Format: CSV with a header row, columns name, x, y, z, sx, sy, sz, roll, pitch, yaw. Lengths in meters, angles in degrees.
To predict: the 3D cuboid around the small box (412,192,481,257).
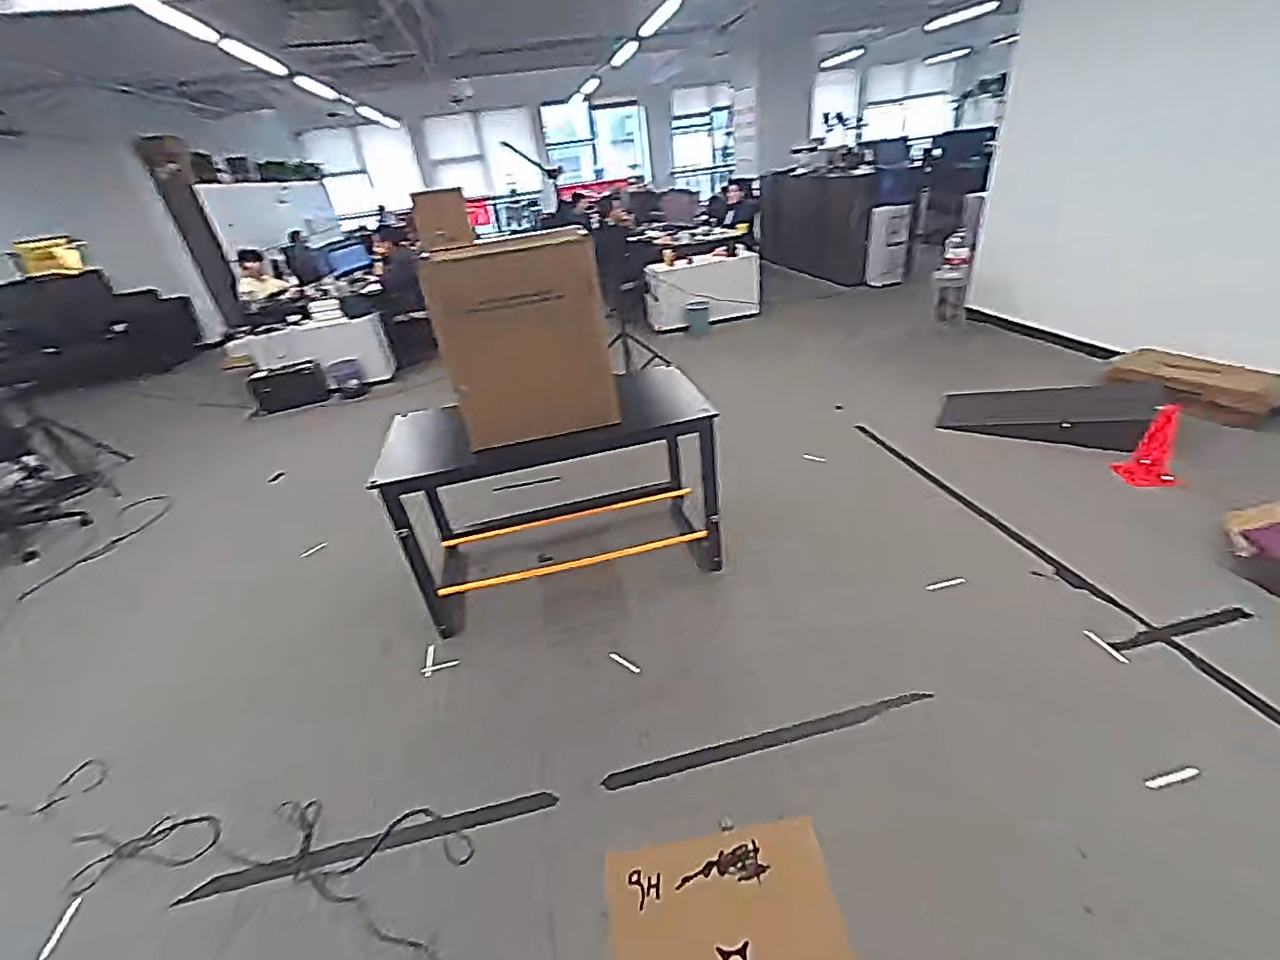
name,x,y,z,sx,sy,sz,roll,pitch,yaw
small box,-0.617,-0.821,1.738,0.168,0.176,0.179,-15,30,-10
